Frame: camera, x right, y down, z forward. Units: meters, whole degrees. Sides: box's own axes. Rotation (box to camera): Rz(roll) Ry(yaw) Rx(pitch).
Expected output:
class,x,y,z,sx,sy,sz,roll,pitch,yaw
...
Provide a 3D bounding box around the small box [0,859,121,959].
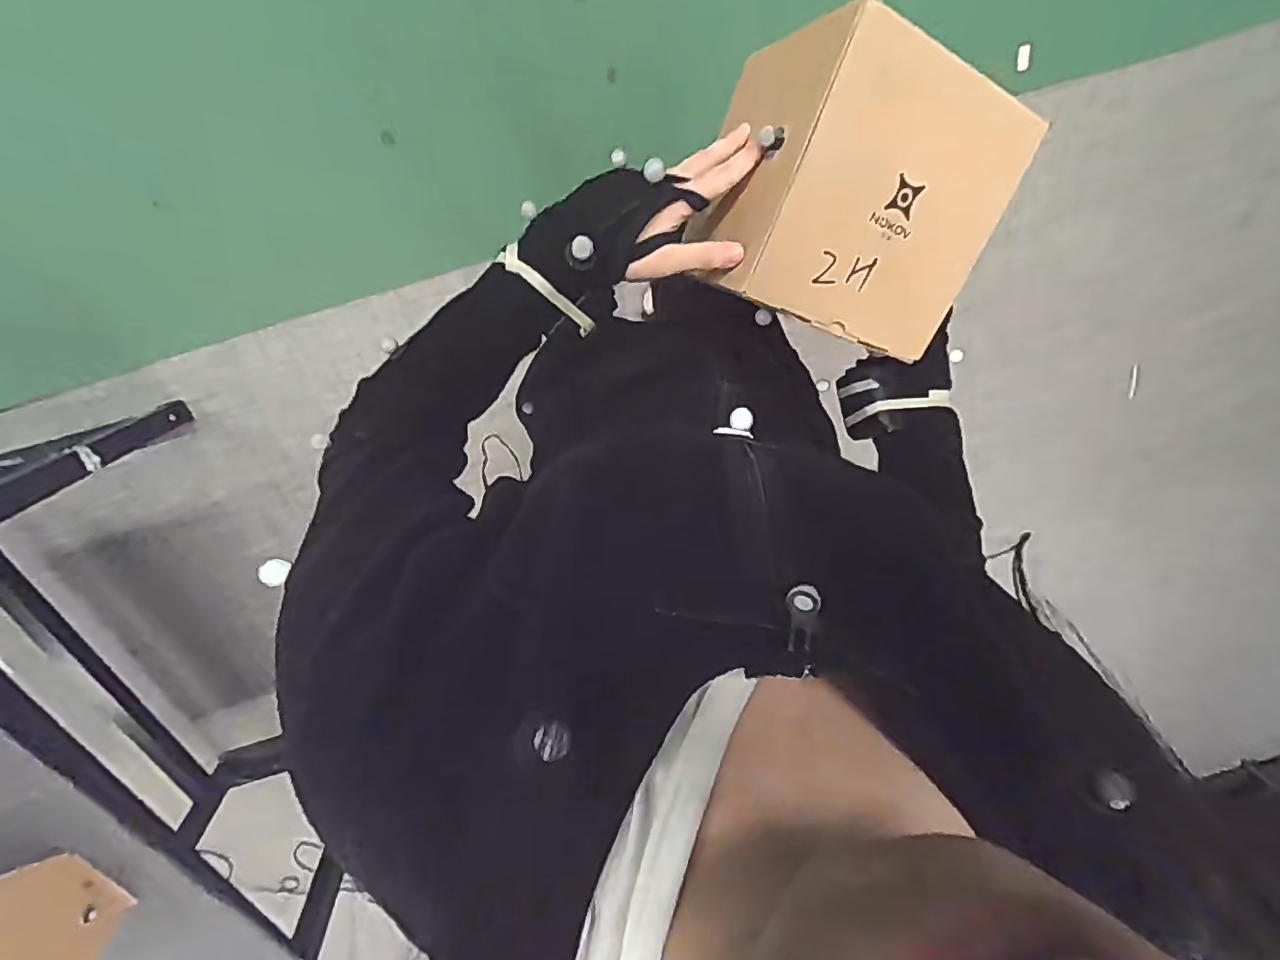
class,x,y,z,sx,sy,sz,roll,pitch,yaw
small box,-0.995,0.742,0.844,0.179,0.176,0.168,-18,116,-2

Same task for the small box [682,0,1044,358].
class,x,y,z,sx,sy,sz,roll,pitch,yaw
small box,0.152,-0.222,0.433,0.168,0.176,0.179,13,112,-21
